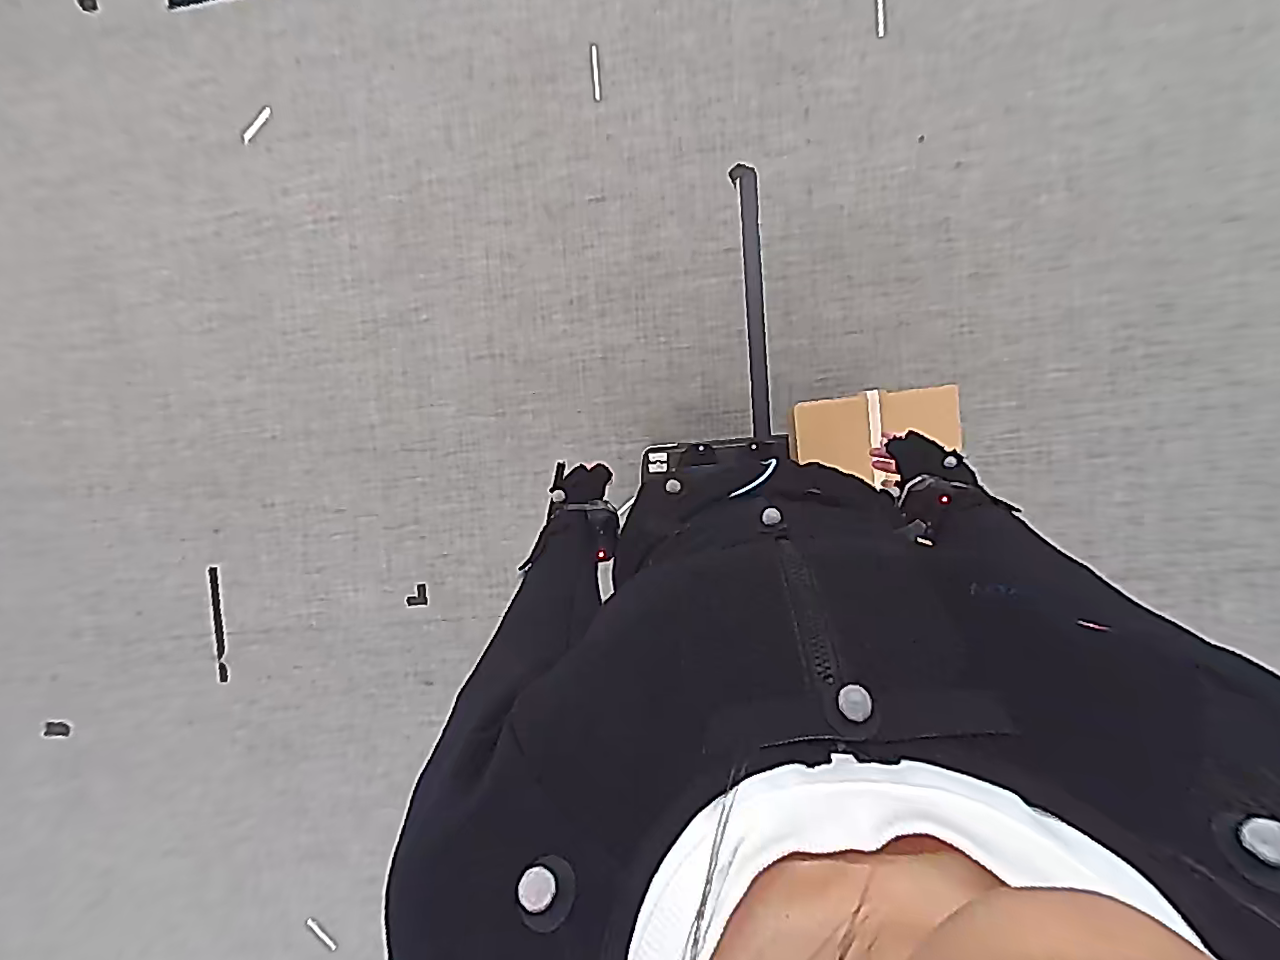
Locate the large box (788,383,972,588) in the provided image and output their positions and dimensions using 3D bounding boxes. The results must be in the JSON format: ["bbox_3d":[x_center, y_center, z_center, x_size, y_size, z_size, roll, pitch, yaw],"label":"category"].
[{"bbox_3d":[0.527,0.003,1.251,0.320,0.320,0.408,-6,95,14],"label":"large box"}]
